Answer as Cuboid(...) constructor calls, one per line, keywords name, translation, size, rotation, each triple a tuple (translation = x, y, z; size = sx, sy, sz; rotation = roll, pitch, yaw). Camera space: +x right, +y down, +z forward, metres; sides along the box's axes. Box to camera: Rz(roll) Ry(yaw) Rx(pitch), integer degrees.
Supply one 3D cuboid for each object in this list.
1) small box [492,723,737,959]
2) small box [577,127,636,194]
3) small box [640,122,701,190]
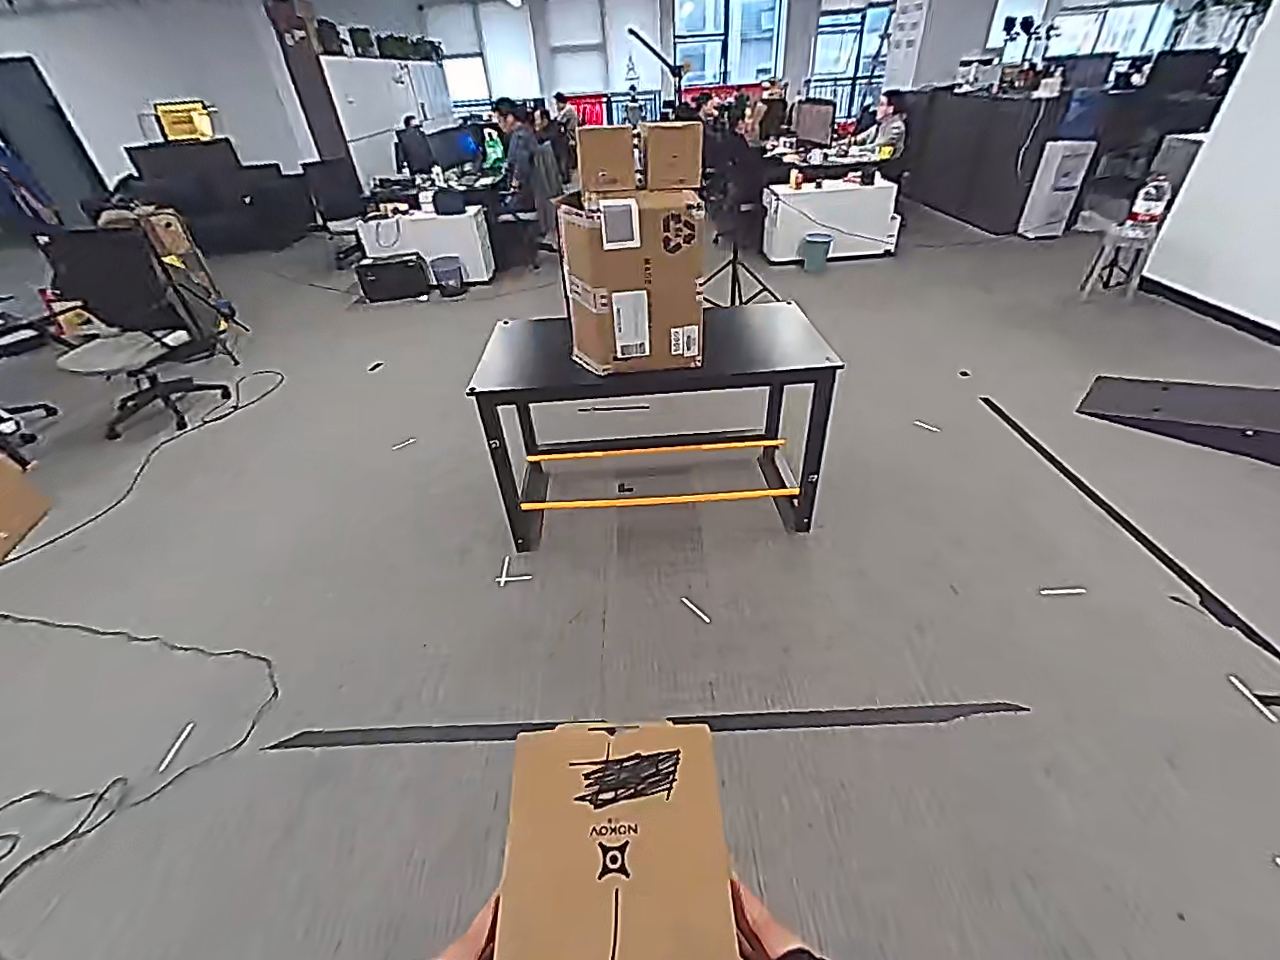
Cuboid(name="small box", translation=(-0.019, 0.332, 0.461), size=(0.168, 0.176, 0.179), rotation=(-2, 43, -1))
Cuboid(name="small box", translation=(-0.107, -0.991, 1.677), size=(0.168, 0.176, 0.179), rotation=(-7, 35, -5))
Cuboid(name="small box", translation=(0.092, -1.006, 1.682), size=(0.168, 0.176, 0.179), rotation=(-4, 37, -5))
